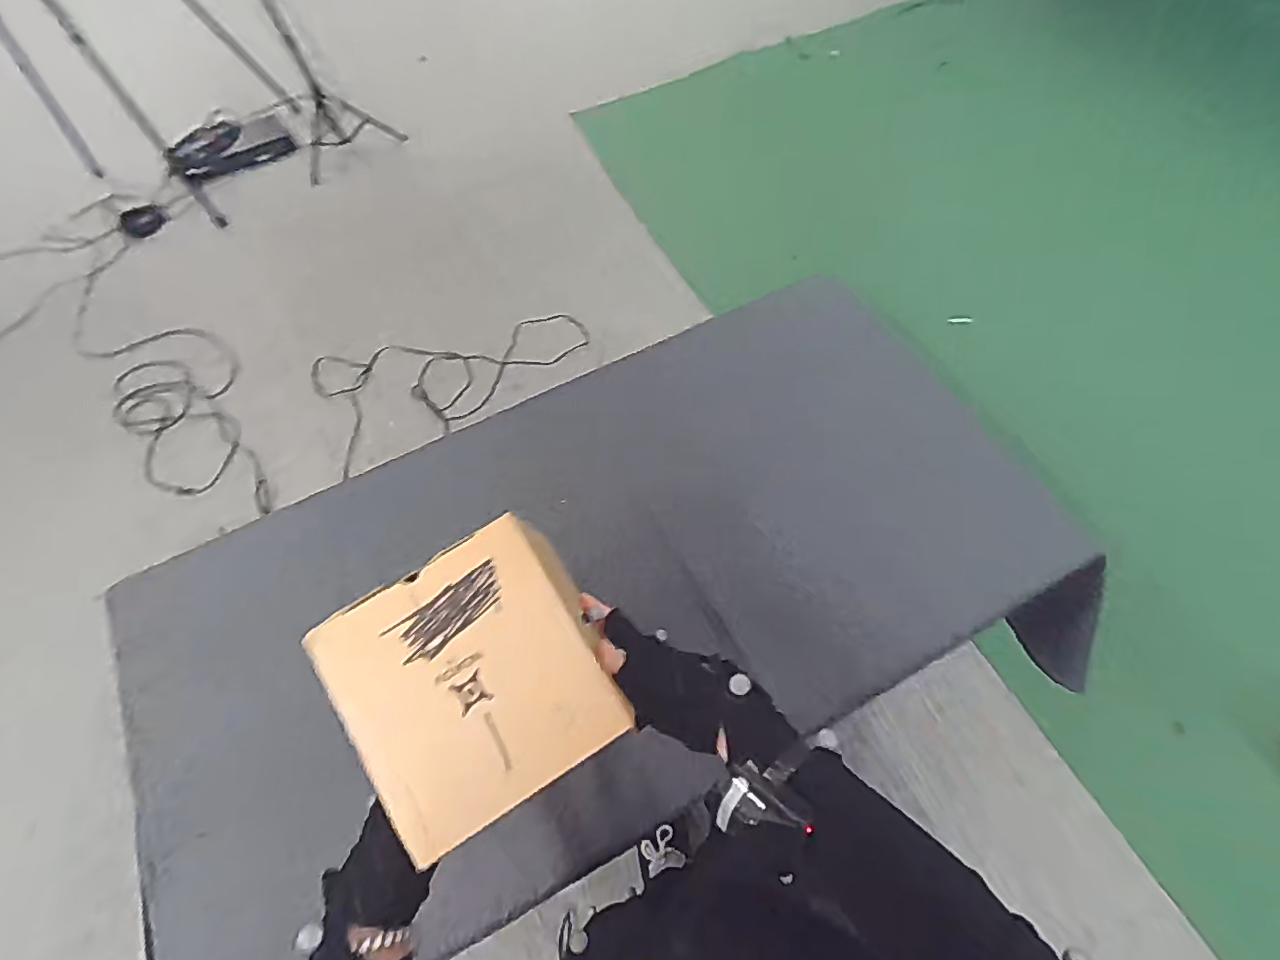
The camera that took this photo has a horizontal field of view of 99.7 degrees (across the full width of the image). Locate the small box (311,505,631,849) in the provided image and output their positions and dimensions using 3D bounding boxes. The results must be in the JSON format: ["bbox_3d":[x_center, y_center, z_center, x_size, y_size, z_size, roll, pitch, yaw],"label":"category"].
[{"bbox_3d":[-0.121,0.146,0.452,0.168,0.176,0.179,-31,80,-7],"label":"small box"}]
